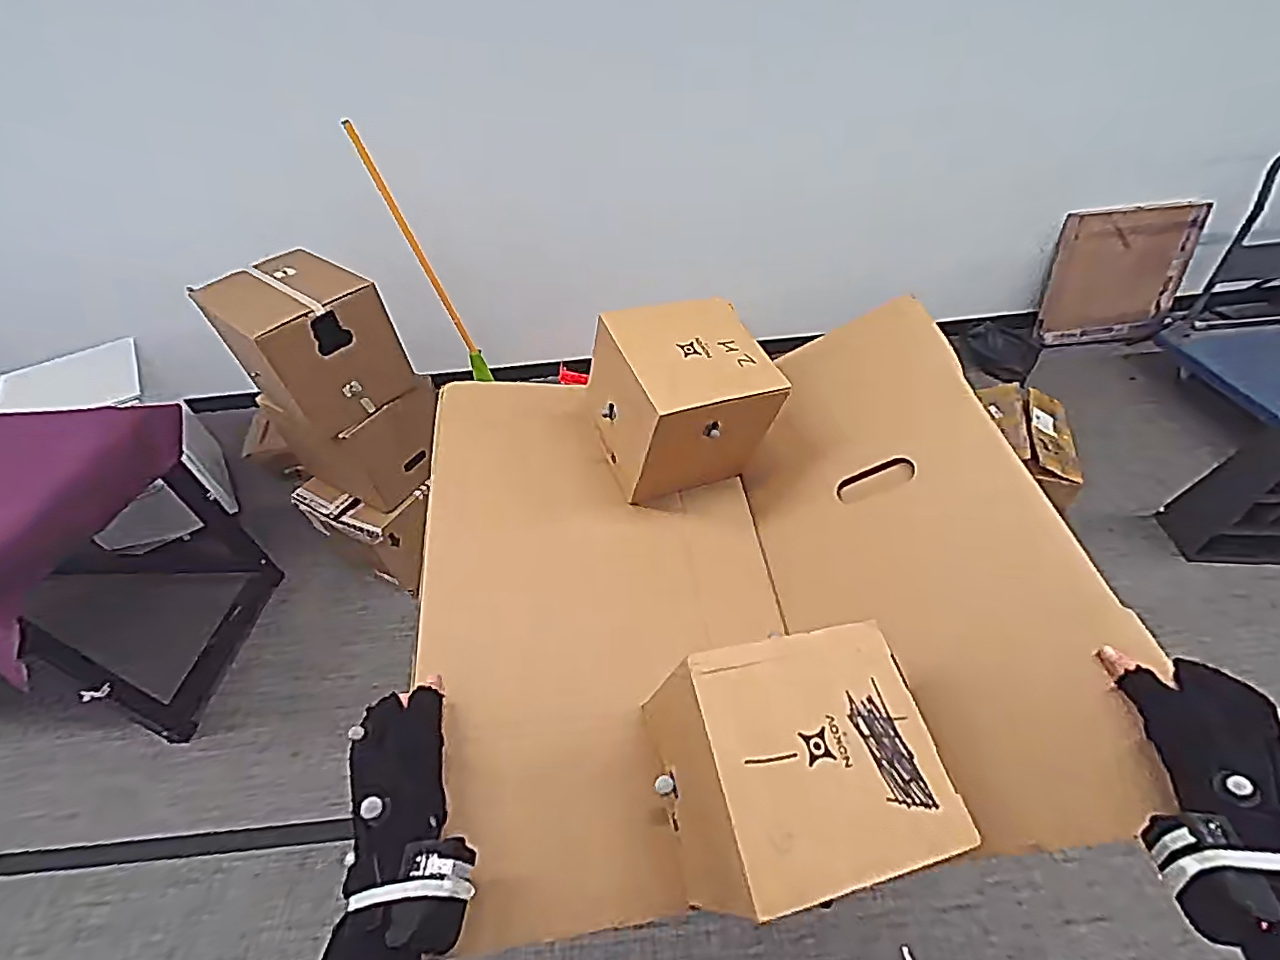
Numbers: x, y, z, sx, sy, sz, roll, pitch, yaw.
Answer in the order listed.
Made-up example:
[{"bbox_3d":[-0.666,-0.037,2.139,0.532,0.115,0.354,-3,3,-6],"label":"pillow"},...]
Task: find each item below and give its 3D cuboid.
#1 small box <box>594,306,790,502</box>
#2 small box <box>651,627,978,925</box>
[{"bbox_3d":[0.049,-0.093,0.682,0.179,0.176,0.168,-14,59,-23],"label":"small box"},{"bbox_3d":[0.123,0.242,0.458,0.179,0.176,0.168,-6,57,-16],"label":"small box"}]
